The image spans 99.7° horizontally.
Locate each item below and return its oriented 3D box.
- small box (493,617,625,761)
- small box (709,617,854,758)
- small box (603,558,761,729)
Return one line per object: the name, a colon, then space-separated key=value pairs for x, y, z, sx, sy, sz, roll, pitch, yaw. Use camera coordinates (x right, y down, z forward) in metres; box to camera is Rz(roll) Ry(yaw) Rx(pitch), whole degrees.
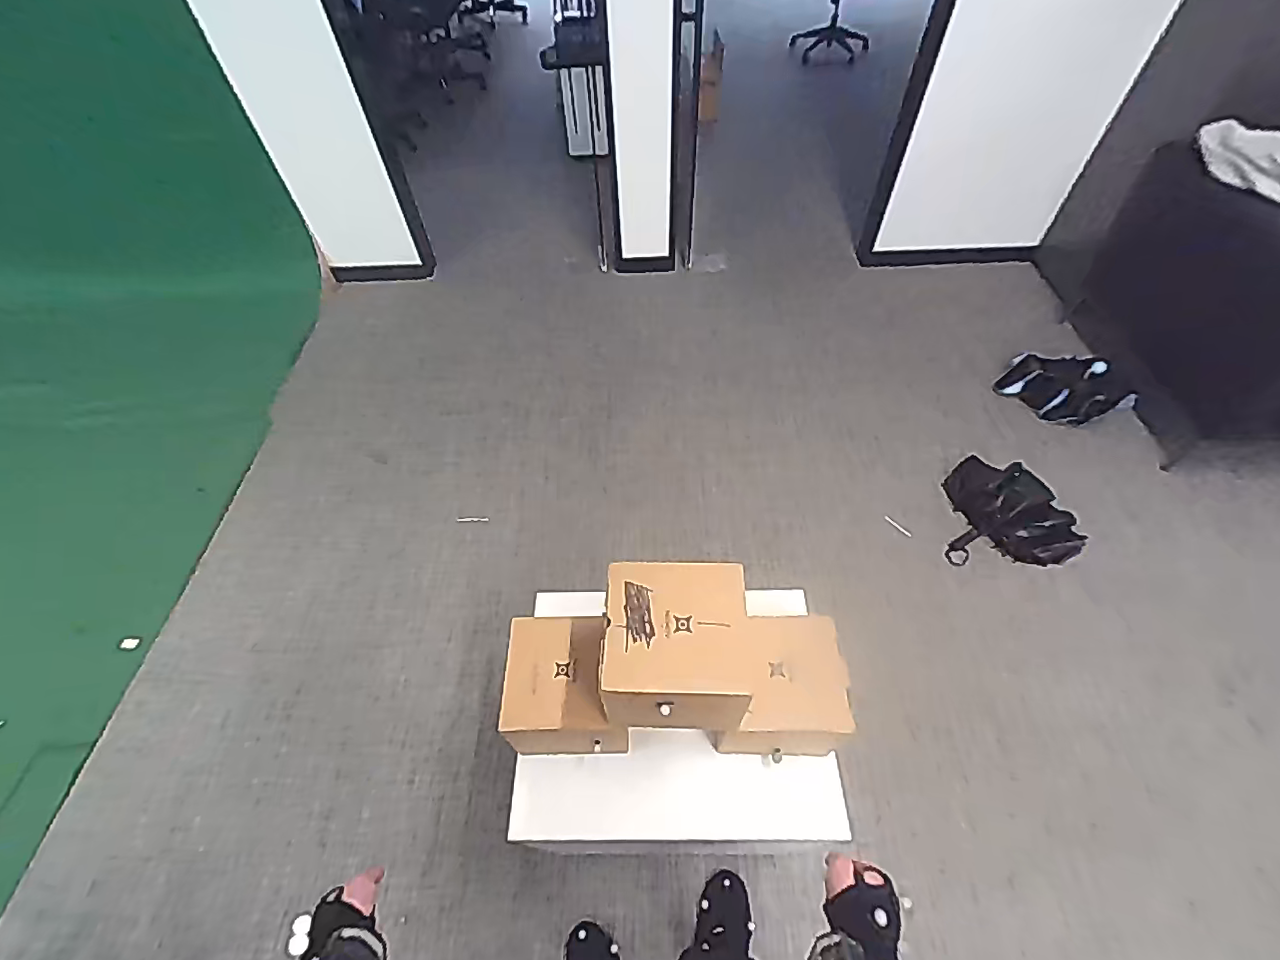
small box: x=-0.112 y=0.319 z=0.823 sx=0.179 sy=0.176 sz=0.168 roll=-1 pitch=51 yaw=-3
small box: x=0.200 y=0.321 z=0.831 sx=0.179 sy=0.176 sz=0.168 roll=0 pitch=53 yaw=0
small box: x=0.047 y=0.216 z=0.701 sx=0.179 sy=0.176 sz=0.168 roll=2 pitch=53 yaw=0
